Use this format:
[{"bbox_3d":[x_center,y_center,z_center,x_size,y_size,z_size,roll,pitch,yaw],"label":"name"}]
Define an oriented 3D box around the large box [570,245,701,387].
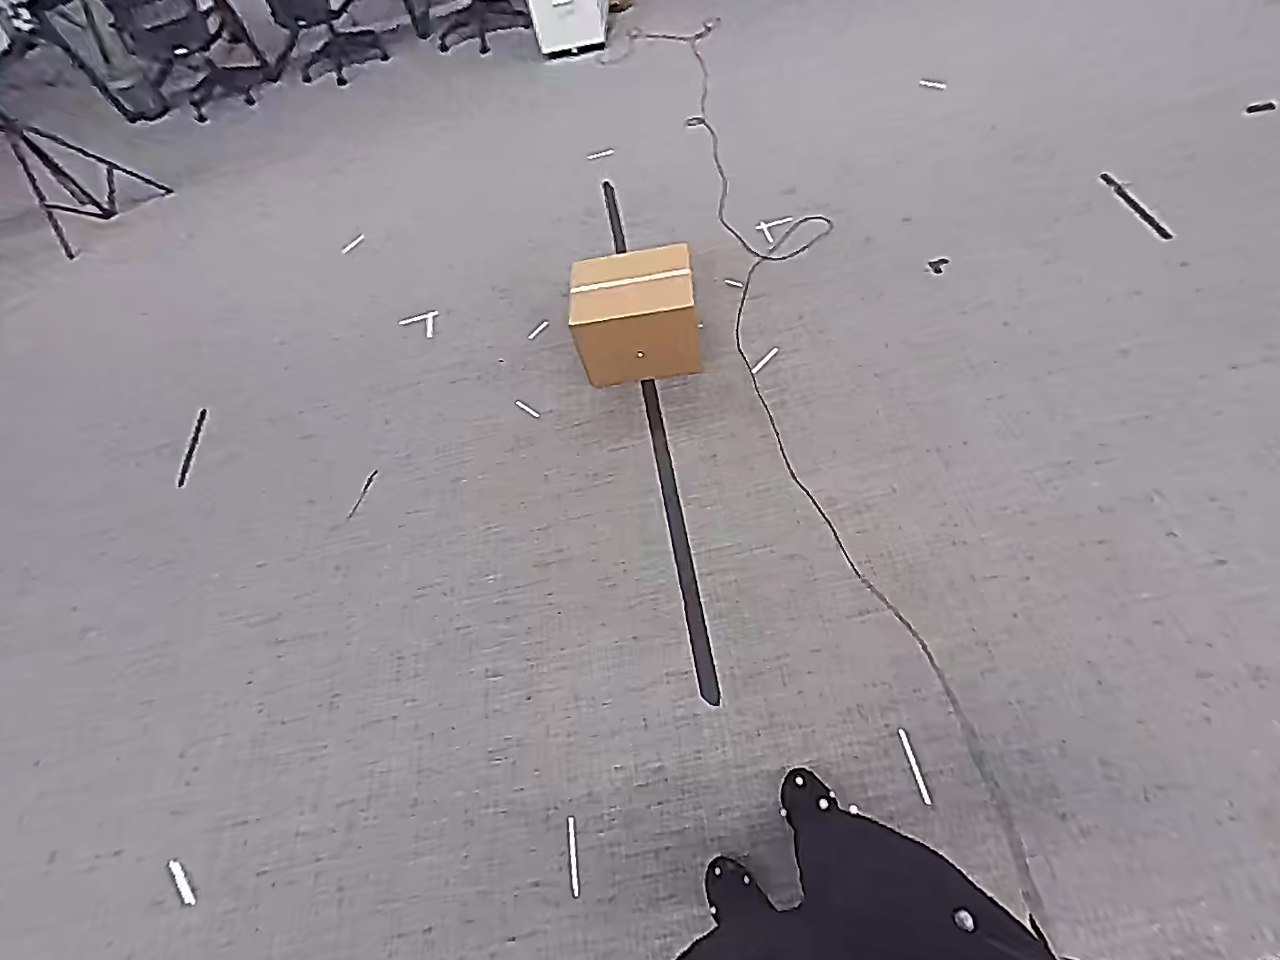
[{"bbox_3d":[-0.010,-0.559,1.886,0.408,0.320,0.320,-7,59,8],"label":"large box"}]
